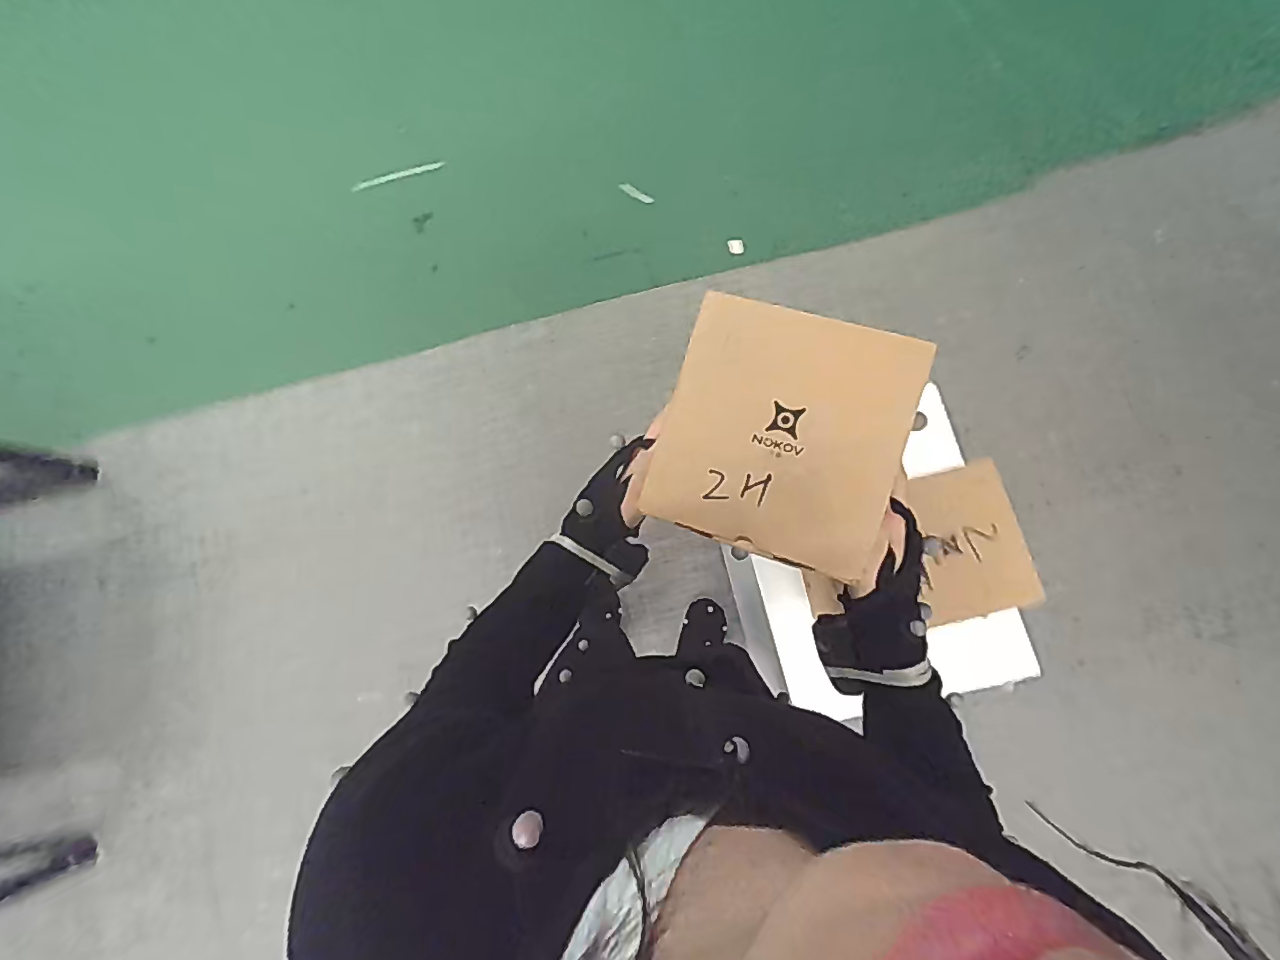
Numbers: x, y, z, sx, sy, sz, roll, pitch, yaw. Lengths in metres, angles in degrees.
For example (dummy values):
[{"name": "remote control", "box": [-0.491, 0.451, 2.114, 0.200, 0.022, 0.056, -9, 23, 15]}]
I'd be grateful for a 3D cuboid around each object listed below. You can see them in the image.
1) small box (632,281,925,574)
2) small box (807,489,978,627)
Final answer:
[{"name": "small box", "box": [0.108, -0.035, 0.455, 0.168, 0.176, 0.179, 16, 89, 13]}, {"name": "small box", "box": [0.362, 0.119, 0.822, 0.179, 0.176, 0.168, -12, 78, 2]}]
